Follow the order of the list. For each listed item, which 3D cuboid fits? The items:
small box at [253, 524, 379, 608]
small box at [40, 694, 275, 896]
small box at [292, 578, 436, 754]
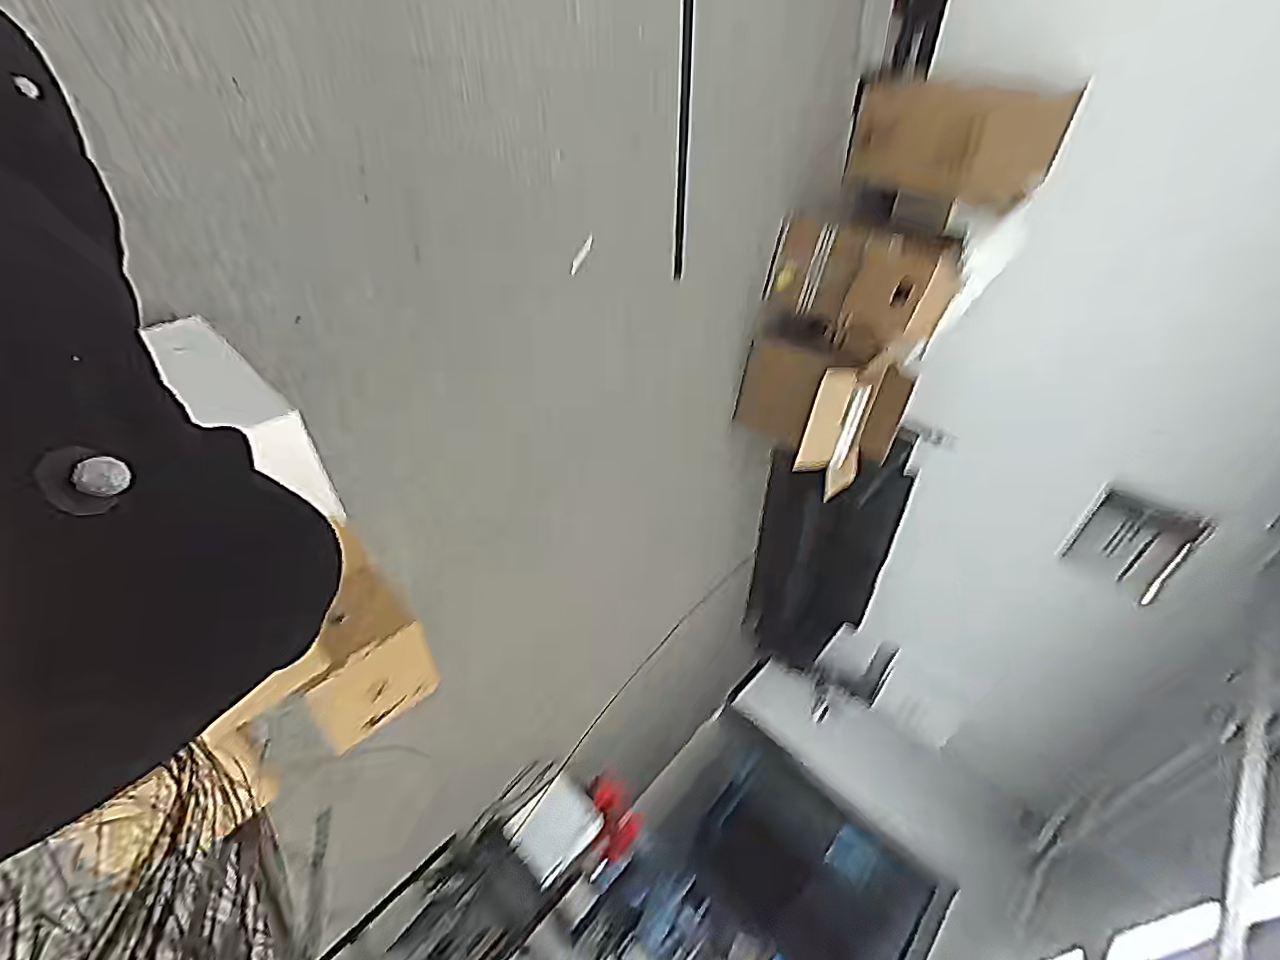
[{"bbox_3d":[-0.567,0.198,0.943,0.168,0.176,0.179,-29,137,-37],"label":"small box"},{"bbox_3d":[-0.623,0.380,0.709,0.168,0.176,0.179,-31,137,-37],"label":"small box"},{"bbox_3d":[-0.454,0.279,0.856,0.168,0.176,0.179,-30,137,-36],"label":"small box"}]
